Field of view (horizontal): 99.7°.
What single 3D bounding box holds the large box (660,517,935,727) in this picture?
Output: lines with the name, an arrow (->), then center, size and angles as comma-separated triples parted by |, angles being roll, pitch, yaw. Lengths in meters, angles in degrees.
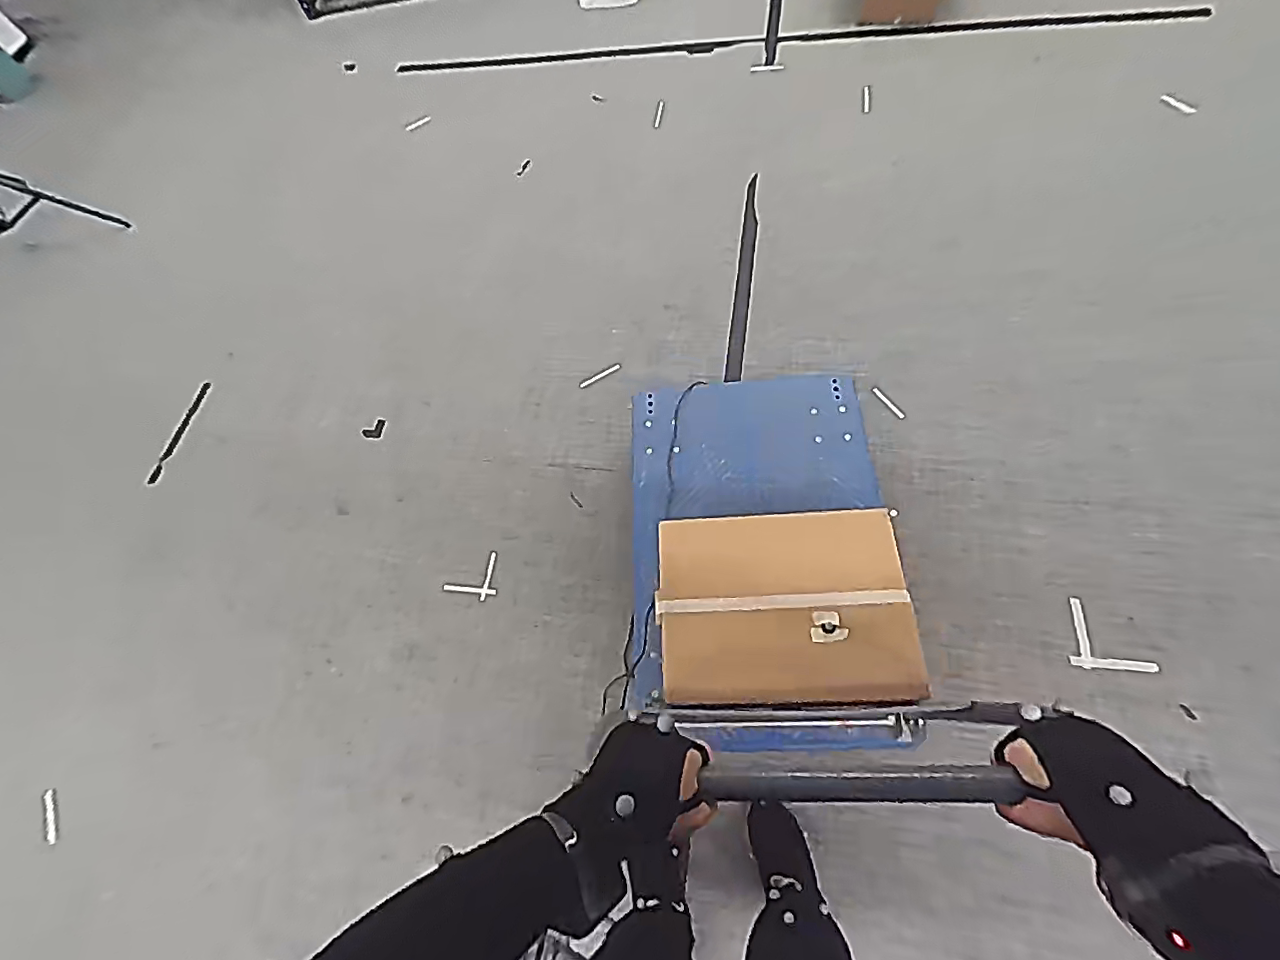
large box -> 0.251, 0.281, 1.009 | 0.408, 0.320, 0.320 | -4, 64, 6
